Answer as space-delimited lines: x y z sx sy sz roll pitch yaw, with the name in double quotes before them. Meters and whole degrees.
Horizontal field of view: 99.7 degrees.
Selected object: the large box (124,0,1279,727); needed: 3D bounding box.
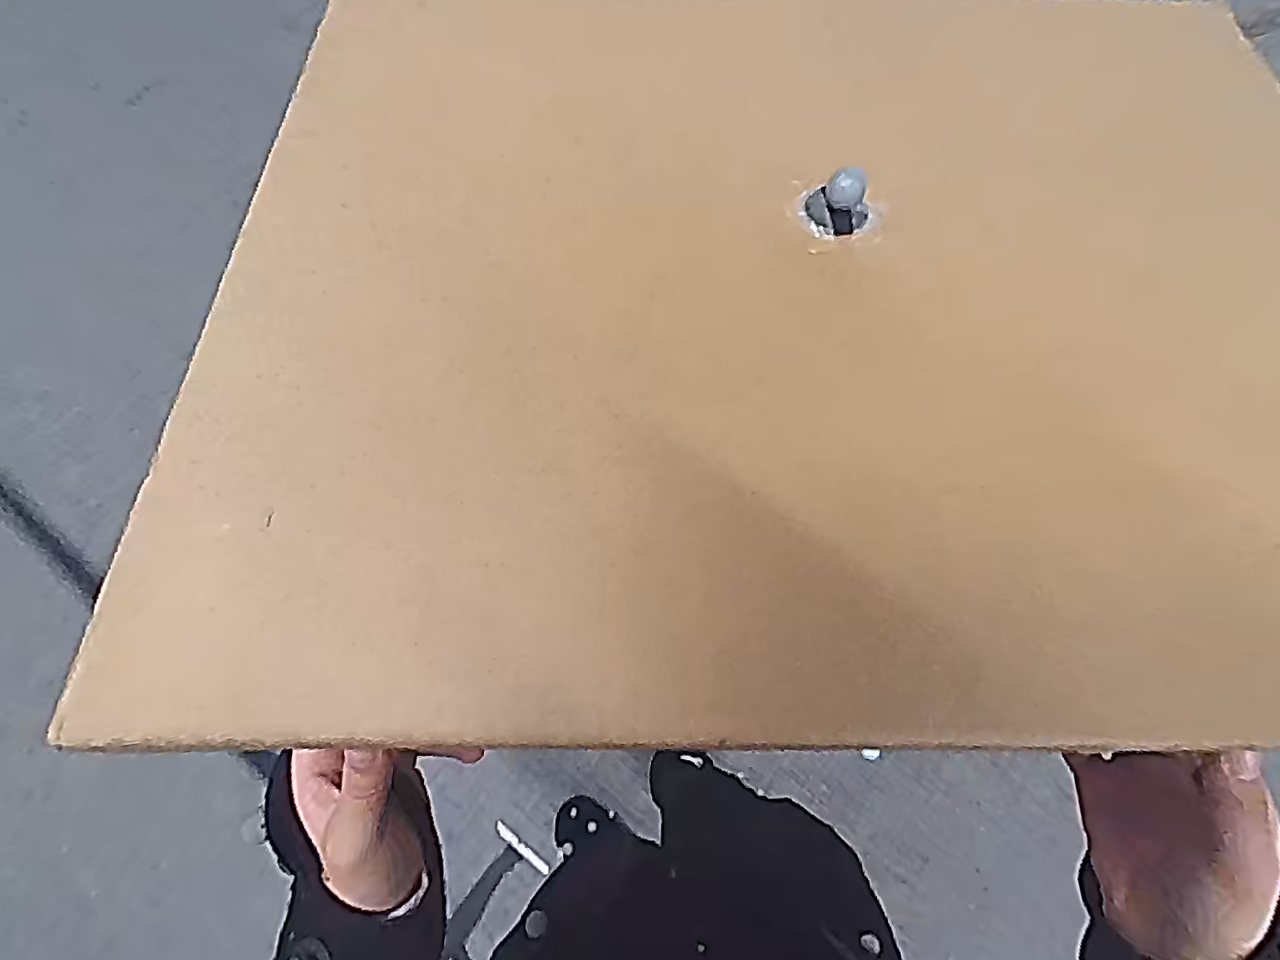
"large box" 0.070 -0.032 0.323 0.408 0.320 0.320 1 68 0
